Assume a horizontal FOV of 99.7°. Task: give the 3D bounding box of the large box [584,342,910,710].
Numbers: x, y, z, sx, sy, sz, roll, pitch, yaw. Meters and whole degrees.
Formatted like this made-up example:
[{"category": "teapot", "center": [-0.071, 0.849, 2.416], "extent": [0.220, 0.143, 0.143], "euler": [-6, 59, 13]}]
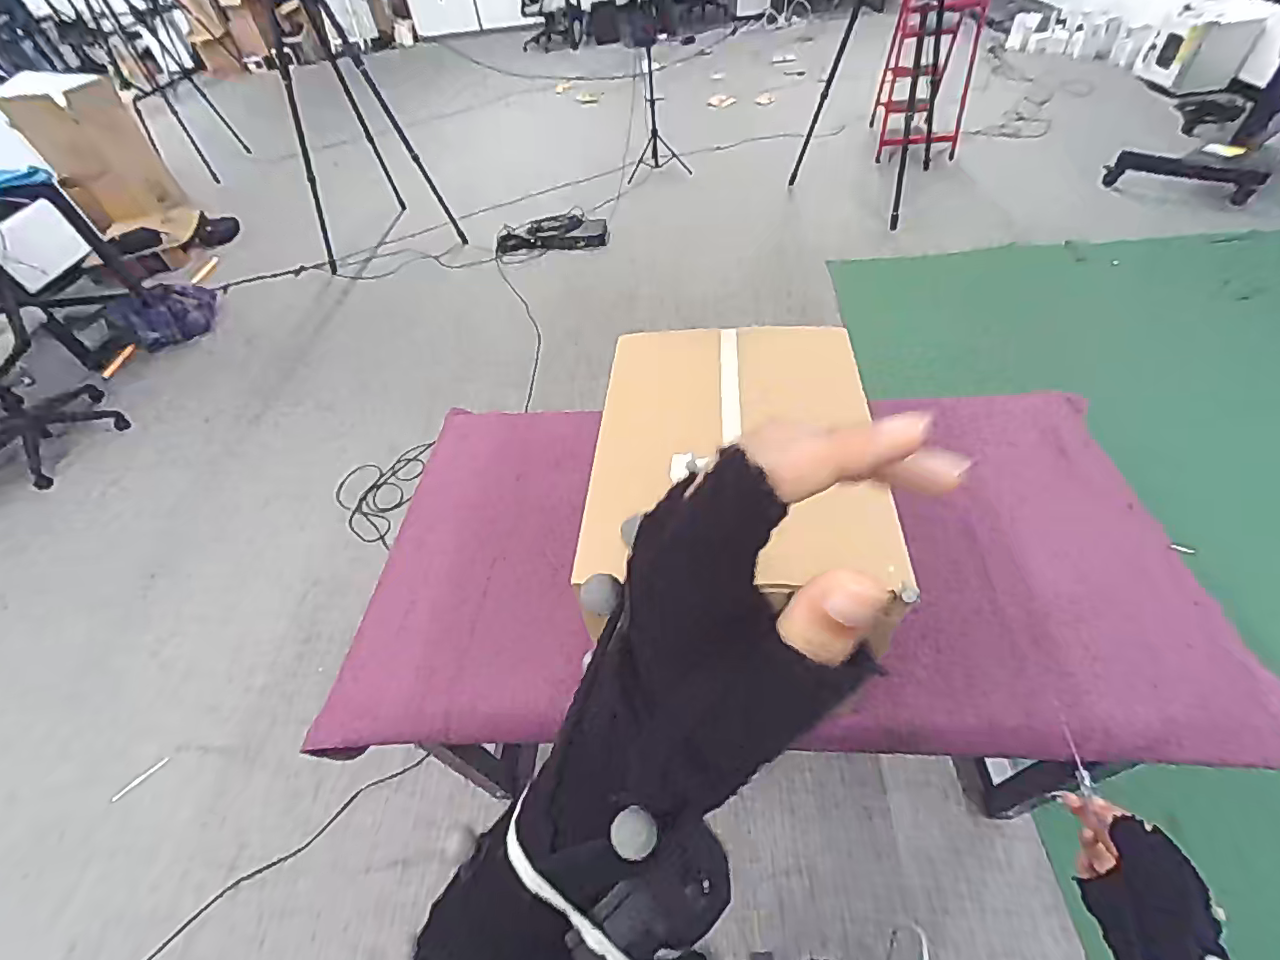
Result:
[{"category": "large box", "center": [0.122, 0.056, 0.747], "extent": [0.320, 0.320, 0.408], "euler": [0, 50, 8]}]
